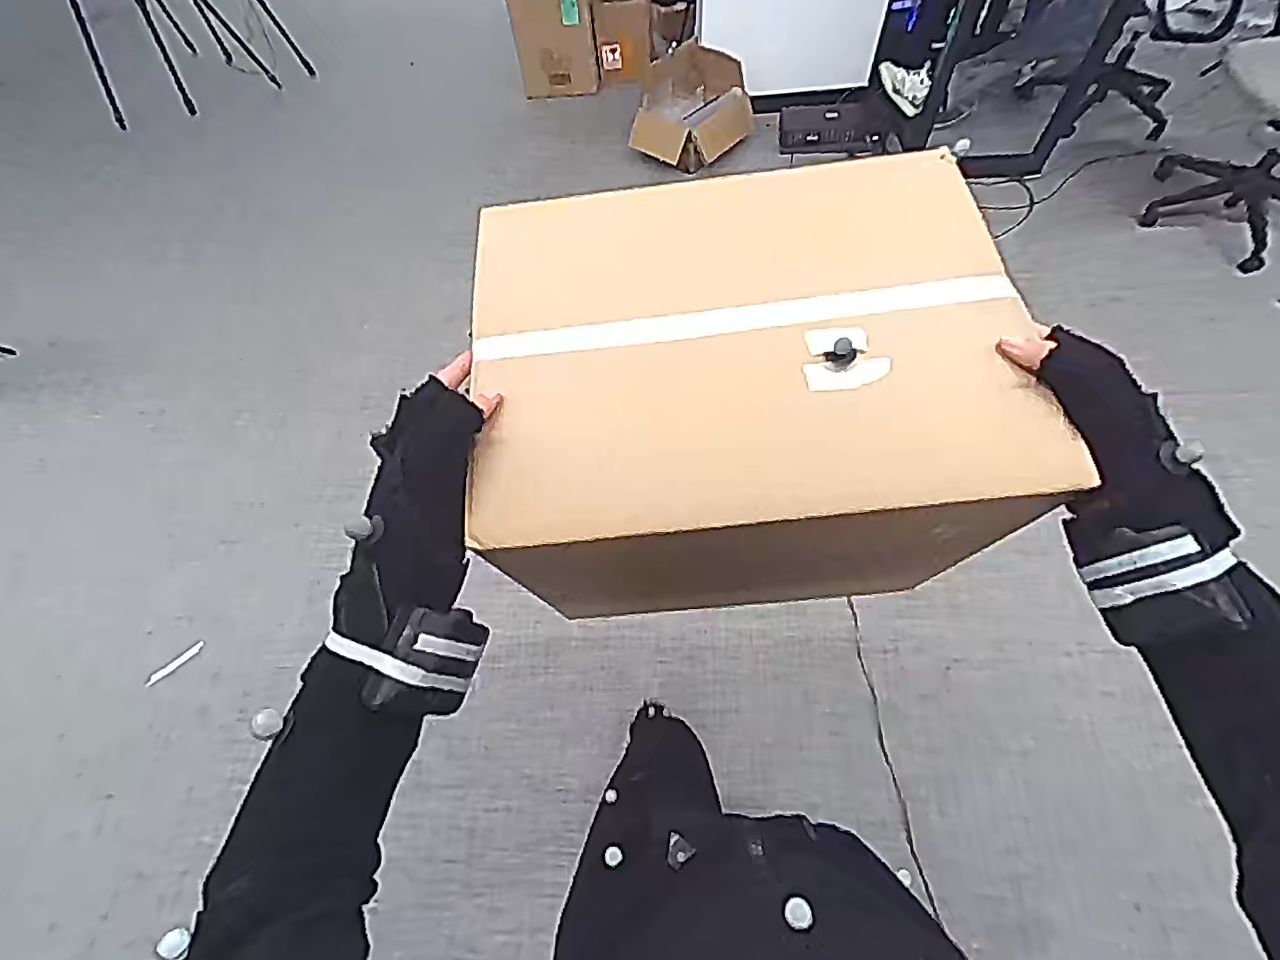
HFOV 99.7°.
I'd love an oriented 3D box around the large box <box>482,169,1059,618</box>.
[{"bbox_3d":[0.082,-0.056,0.562,0.408,0.320,0.320,-6,67,2],"label":"large box"}]
